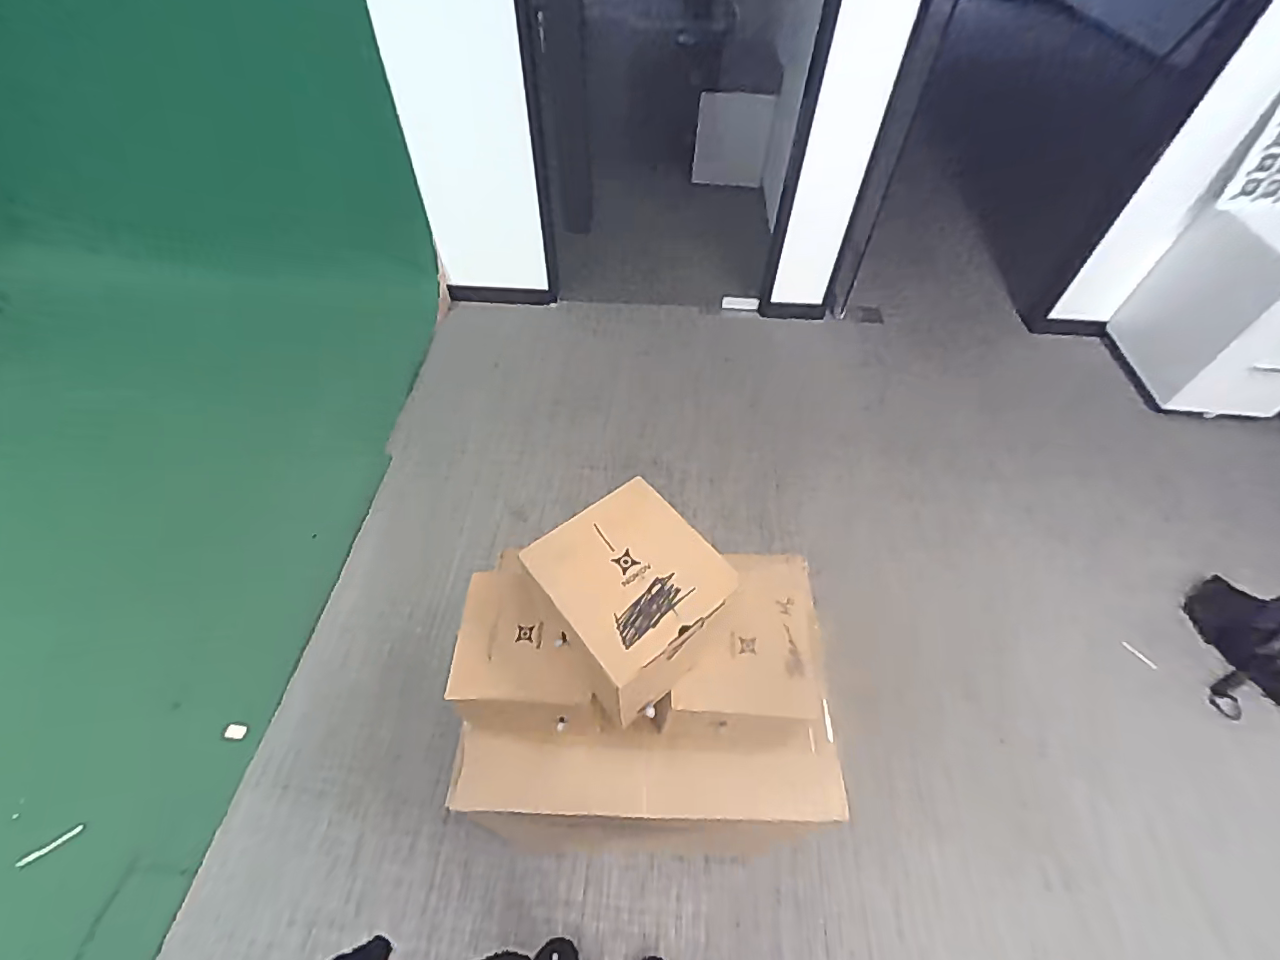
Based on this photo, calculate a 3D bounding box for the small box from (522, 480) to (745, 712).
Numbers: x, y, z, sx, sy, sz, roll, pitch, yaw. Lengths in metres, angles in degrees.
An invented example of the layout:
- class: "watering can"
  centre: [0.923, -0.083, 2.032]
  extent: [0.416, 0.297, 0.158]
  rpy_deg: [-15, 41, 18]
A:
- class: "small box"
  centre: [-0.008, 0.140, 0.620]
  extent: [0.168, 0.176, 0.179]
  rpy_deg: [-33, 60, -23]

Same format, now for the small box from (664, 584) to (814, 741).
- class: "small box"
  centre: [0.123, 0.253, 0.744]
  extent: [0.179, 0.176, 0.168]
  rpy_deg: [3, 55, 2]

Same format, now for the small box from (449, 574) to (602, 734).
- class: "small box"
  centre: [-0.138, 0.243, 0.744]
  extent: [0.179, 0.176, 0.168]
  rpy_deg: [1, 53, 0]
